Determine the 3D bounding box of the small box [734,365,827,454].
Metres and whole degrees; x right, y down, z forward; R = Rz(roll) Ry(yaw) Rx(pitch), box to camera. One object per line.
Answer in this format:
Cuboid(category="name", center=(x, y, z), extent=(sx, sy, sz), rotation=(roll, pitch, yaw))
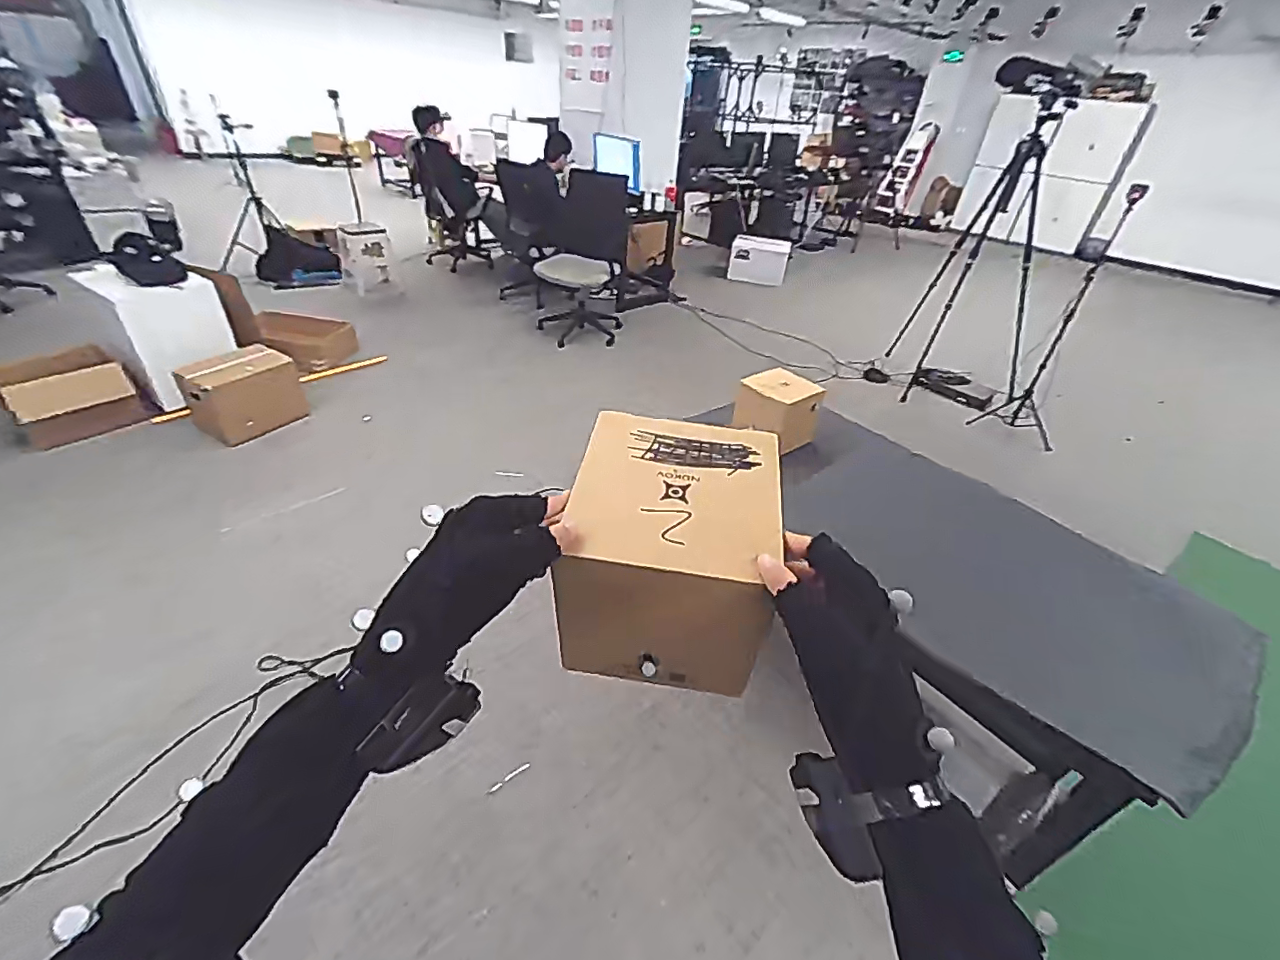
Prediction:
Cuboid(category="small box", center=(0.383, -0.196, 1.506), extent=(0.179, 0.176, 0.168), rotation=(-23, 44, -33))
